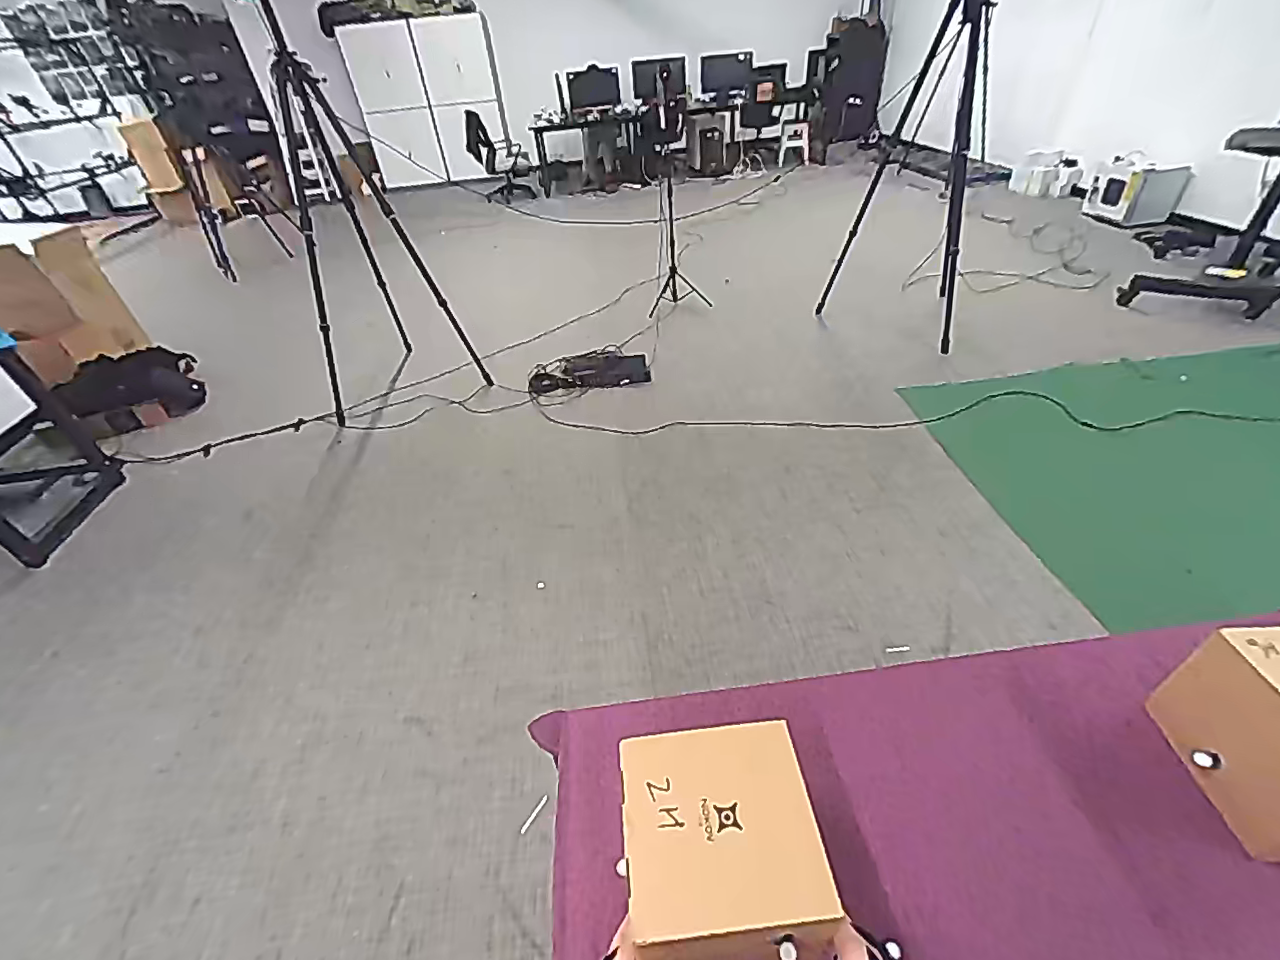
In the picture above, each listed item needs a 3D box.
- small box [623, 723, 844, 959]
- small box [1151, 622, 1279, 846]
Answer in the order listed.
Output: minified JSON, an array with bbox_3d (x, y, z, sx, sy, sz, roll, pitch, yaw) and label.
[{"bbox_3d":[0.080,0.372,0.545,0.179,0.176,0.168,-7,38,0],"label":"small box"},{"bbox_3d":[0.716,0.269,0.568,0.168,0.176,0.179,-3,40,5],"label":"small box"}]
